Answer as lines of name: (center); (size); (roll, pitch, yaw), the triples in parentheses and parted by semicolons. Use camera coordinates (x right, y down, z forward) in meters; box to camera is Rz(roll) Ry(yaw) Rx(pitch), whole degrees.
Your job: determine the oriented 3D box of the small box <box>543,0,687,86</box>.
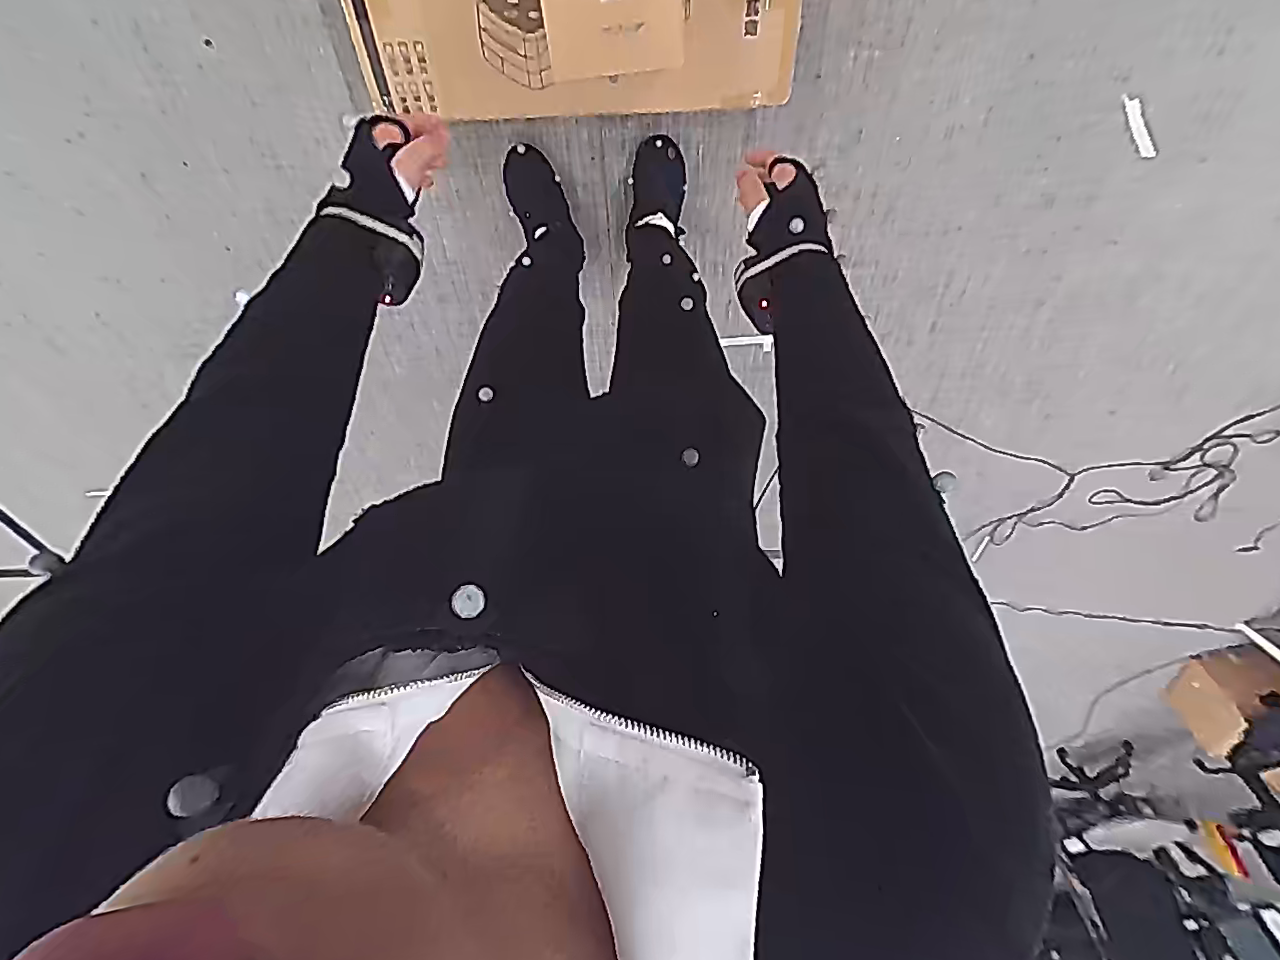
small box: (-0.034, -0.613, 0.670); (0.168, 0.176, 0.179); (-5, 132, 4)
